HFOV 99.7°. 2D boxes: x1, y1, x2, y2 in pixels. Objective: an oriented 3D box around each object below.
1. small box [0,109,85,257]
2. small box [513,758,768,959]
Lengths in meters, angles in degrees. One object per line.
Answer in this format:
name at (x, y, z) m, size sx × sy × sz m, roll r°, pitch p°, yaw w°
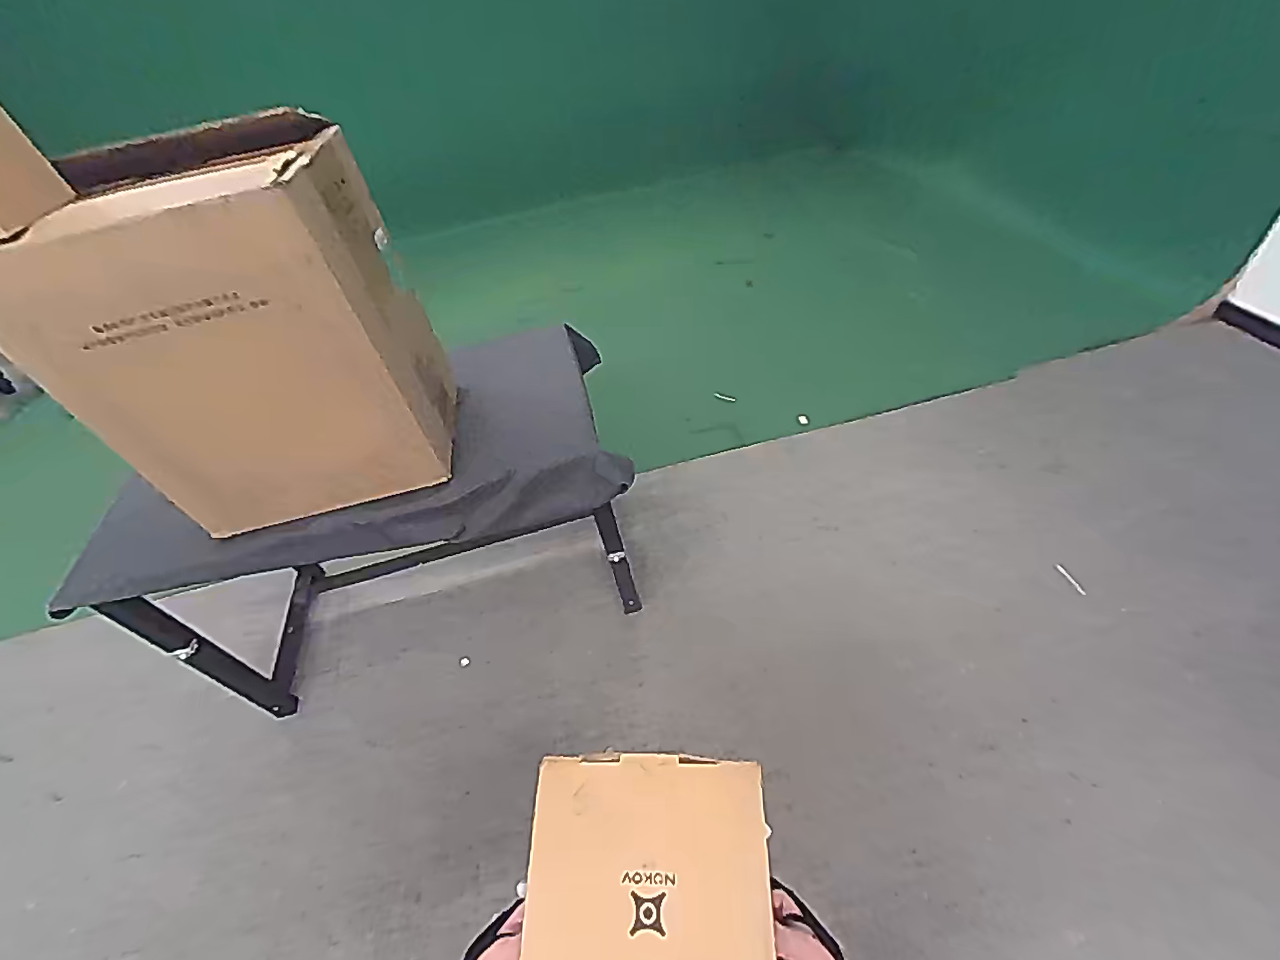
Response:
small box at (-0.980, -0.422, 0.776) m, size 0.168 × 0.176 × 0.179 m, roll -14°, pitch 44°, yaw 0°
small box at (0.004, 0.328, 0.425) m, size 0.168 × 0.176 × 0.179 m, roll 0°, pitch 57°, yaw 3°
